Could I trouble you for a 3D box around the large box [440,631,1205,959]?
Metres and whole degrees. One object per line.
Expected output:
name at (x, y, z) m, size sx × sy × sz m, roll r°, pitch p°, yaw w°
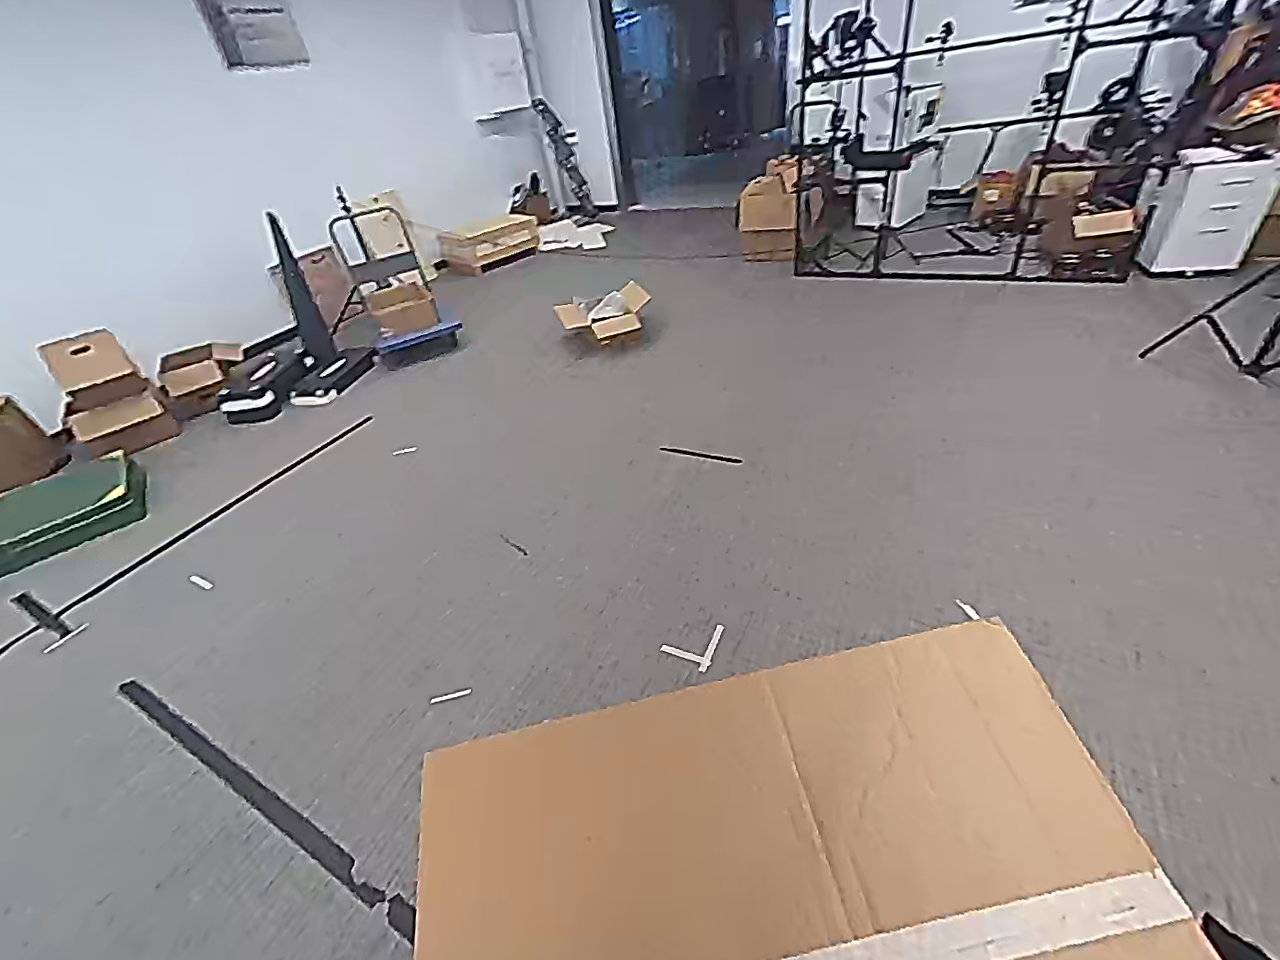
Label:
large box at (0.106, 0.359, 0.401) m, size 0.408 × 0.320 × 0.320 m, roll -14°, pitch 54°, yaw 0°
